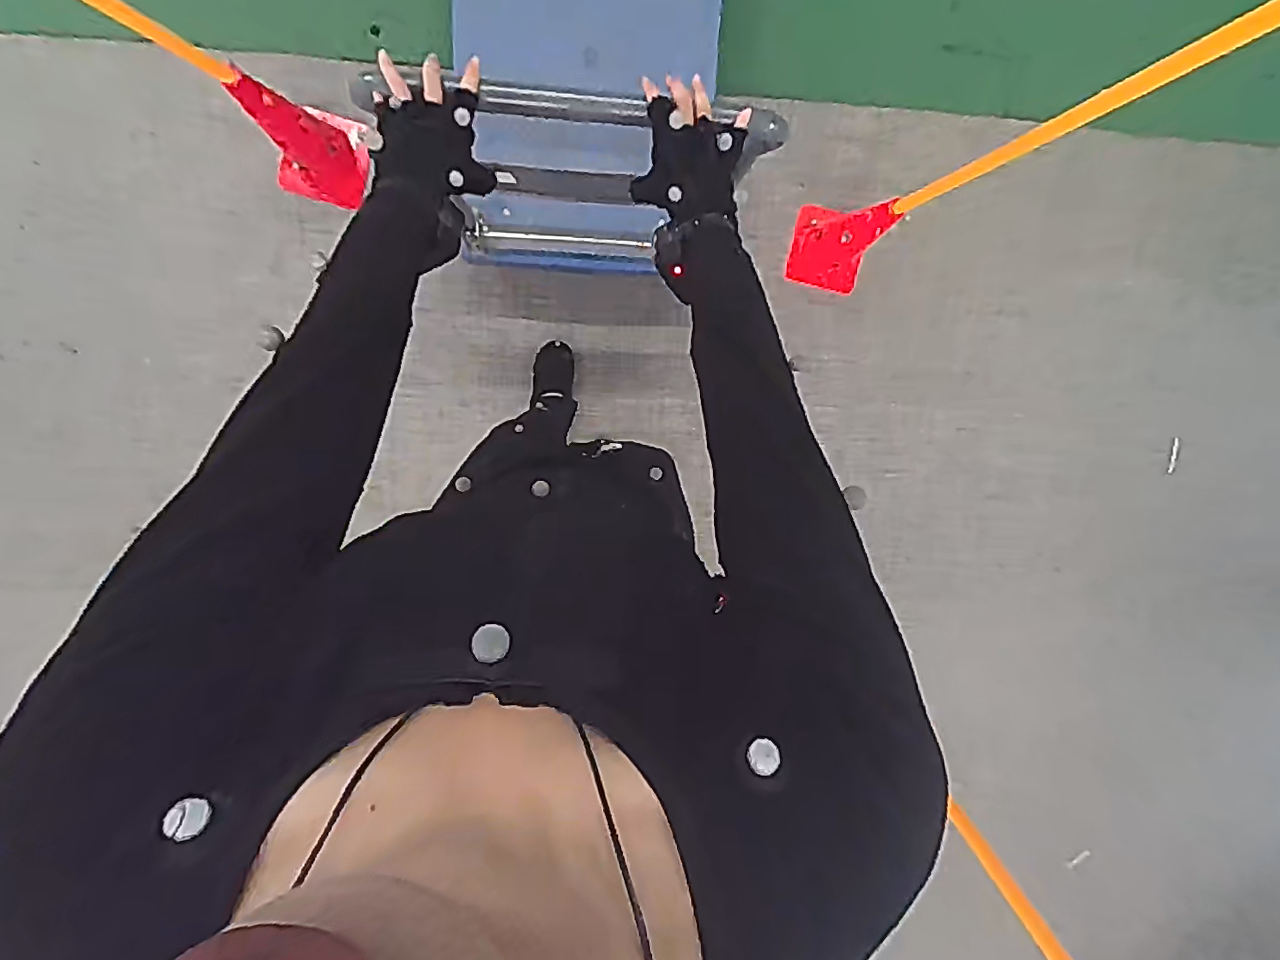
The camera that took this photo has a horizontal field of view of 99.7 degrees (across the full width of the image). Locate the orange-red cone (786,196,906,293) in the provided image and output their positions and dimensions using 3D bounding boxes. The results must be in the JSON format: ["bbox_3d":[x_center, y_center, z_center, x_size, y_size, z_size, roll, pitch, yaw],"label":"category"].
[{"bbox_3d":[0.517,-0.590,1.281,0.198,0.360,0.199,13,99,-6],"label":"orange-red cone"}]
